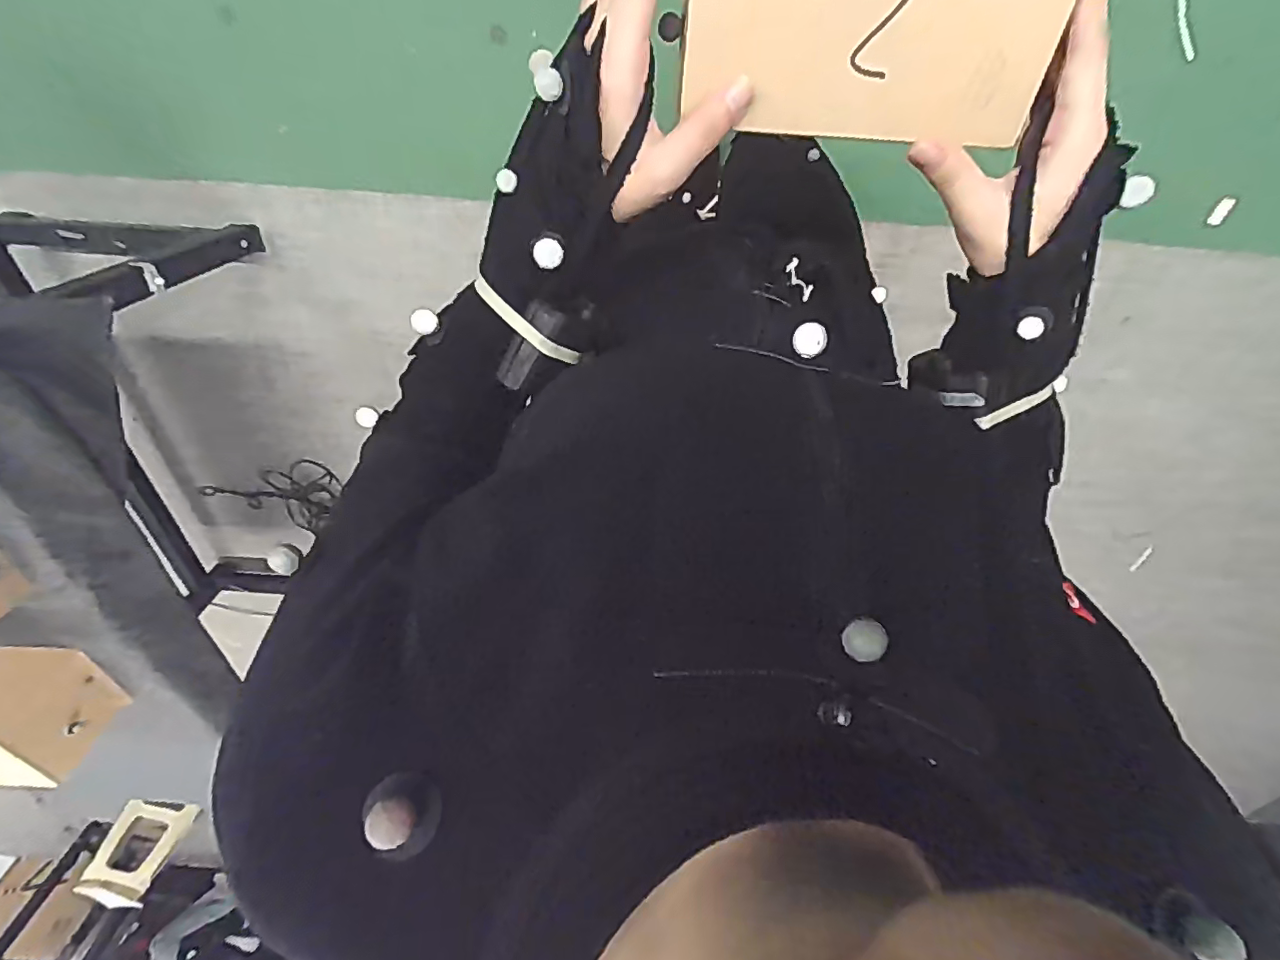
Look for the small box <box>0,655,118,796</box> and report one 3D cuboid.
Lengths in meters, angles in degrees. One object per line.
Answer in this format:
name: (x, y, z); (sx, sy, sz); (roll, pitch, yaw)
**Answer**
small box: (-1.069, 0.418, 0.930); (0.179, 0.176, 0.168); (0, 127, 4)
